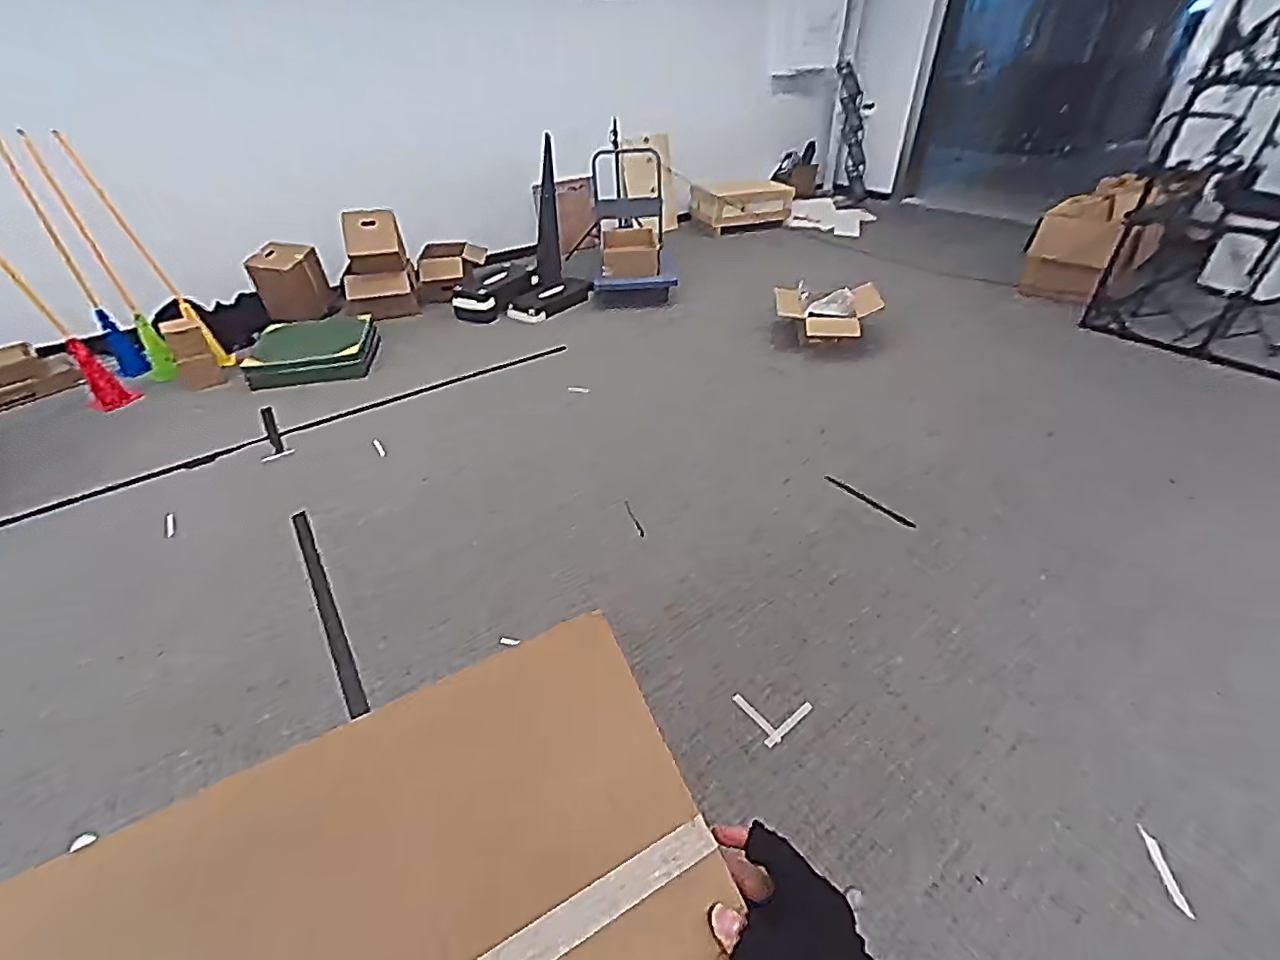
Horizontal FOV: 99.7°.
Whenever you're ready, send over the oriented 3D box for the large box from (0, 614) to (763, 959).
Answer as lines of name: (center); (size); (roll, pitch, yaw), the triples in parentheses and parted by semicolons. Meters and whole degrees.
large box: (-0.161, 0.361, 0.409); (0.408, 0.320, 0.320); (-21, 69, -20)
